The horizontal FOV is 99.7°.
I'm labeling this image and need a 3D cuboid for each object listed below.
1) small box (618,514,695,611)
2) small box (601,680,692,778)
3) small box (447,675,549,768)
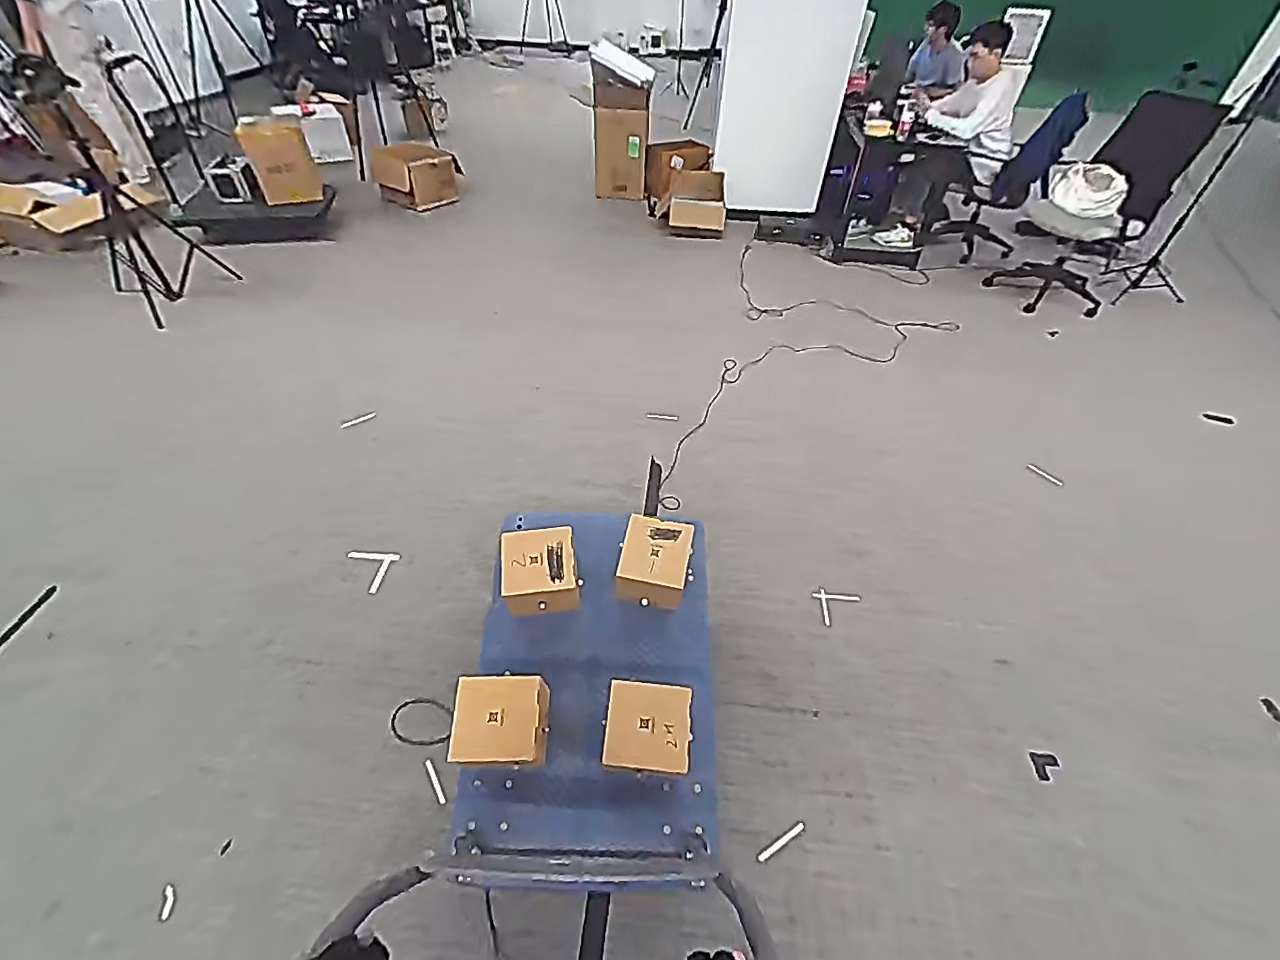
[{"bbox_3d":[0.040,0.215,1.394,0.168,0.176,0.179,11,59,5],"label":"small box"},{"bbox_3d":[0.015,0.549,1.184,0.179,0.176,0.168,6,59,2],"label":"small box"},{"bbox_3d":[-0.302,0.533,1.186,0.179,0.176,0.168,0,58,-3],"label":"small box"}]
